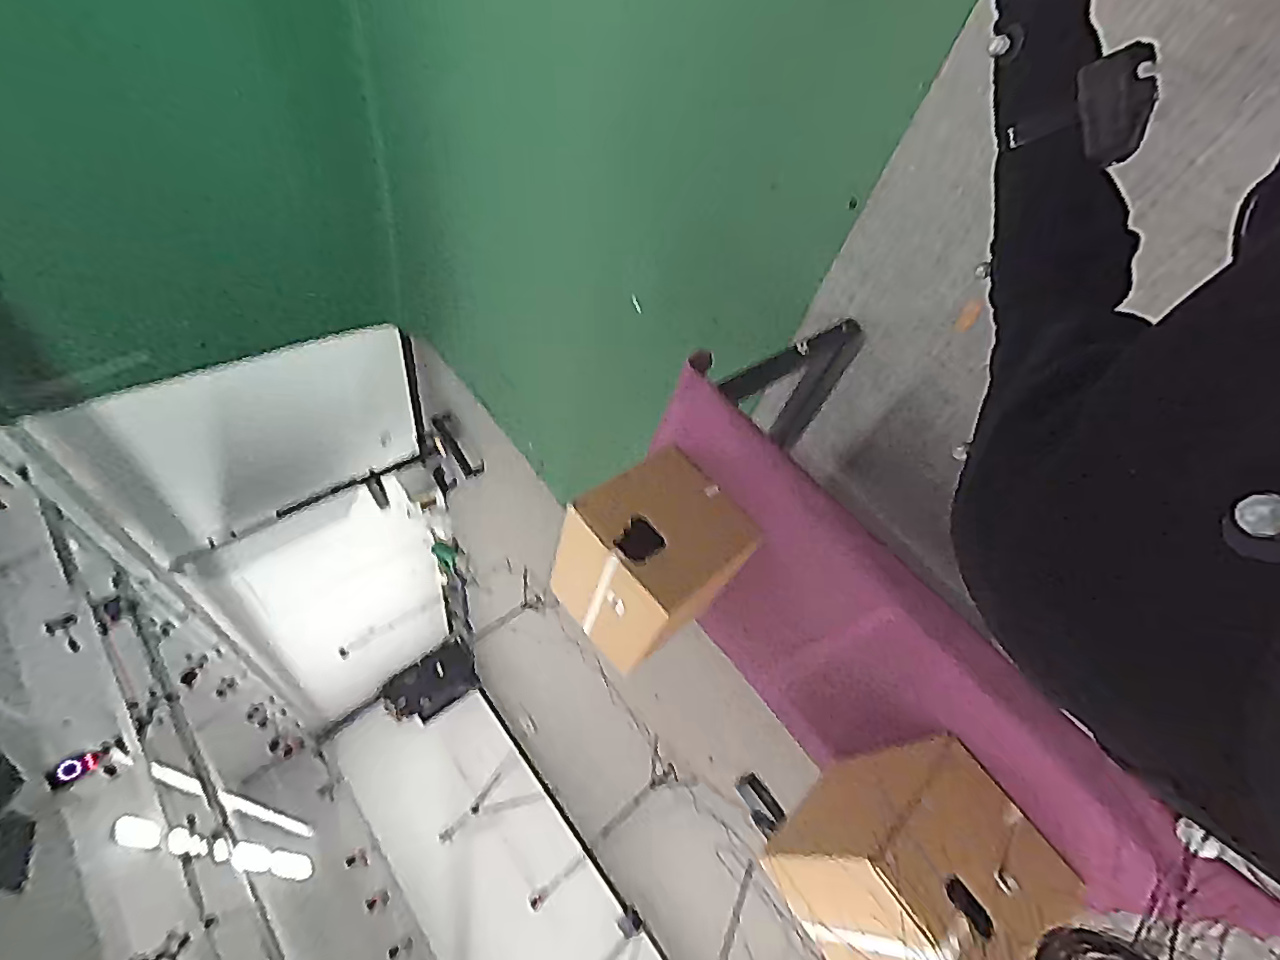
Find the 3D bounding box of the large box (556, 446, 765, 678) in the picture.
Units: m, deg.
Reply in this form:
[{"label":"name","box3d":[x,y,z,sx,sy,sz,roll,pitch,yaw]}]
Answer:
[{"label":"large box","box3d":[0.030,0.198,1.293,0.320,0.320,0.408,45,144,19]}]
